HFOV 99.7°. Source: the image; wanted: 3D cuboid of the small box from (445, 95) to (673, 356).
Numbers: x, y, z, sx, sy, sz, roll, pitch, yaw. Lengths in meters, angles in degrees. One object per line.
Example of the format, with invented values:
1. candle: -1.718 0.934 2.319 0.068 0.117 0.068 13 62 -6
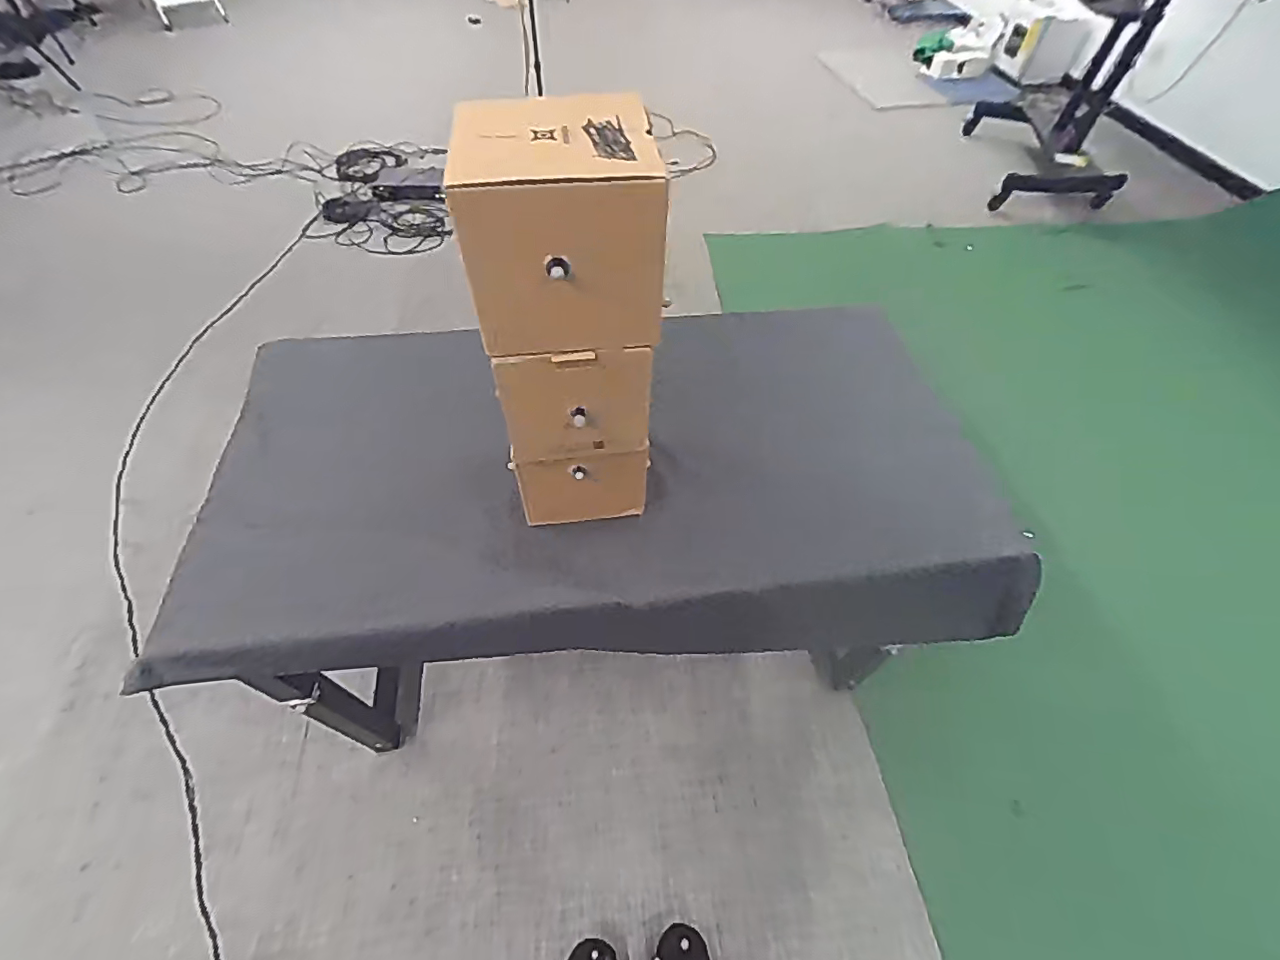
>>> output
1. small box: -0.077 -0.239 0.519 0.179 0.176 0.168 -7 55 -8

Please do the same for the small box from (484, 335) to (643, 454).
1. small box: -0.088 -0.144 0.654 0.168 0.176 0.179 -7 55 -6

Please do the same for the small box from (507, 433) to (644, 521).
1. small box: -0.093 -0.053 0.789 0.179 0.176 0.168 -5 55 -7
